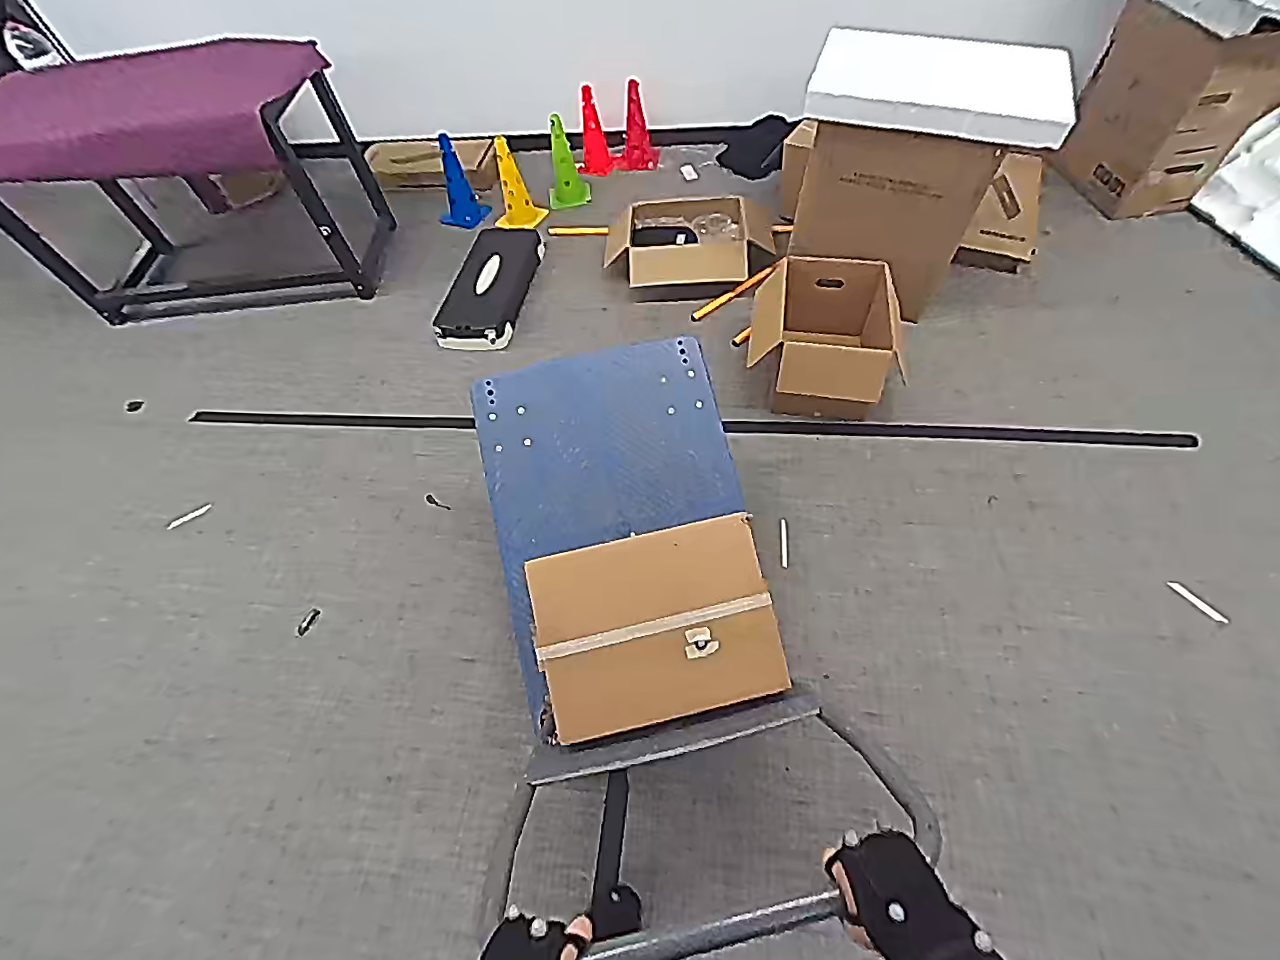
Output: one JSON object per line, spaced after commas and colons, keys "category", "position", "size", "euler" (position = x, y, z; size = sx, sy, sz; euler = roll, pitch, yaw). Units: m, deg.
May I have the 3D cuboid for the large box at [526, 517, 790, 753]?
{"category": "large box", "position": [0.022, 0.284, 1.071], "size": [0.408, 0.320, 0.320], "euler": [-13, 82, -5]}
